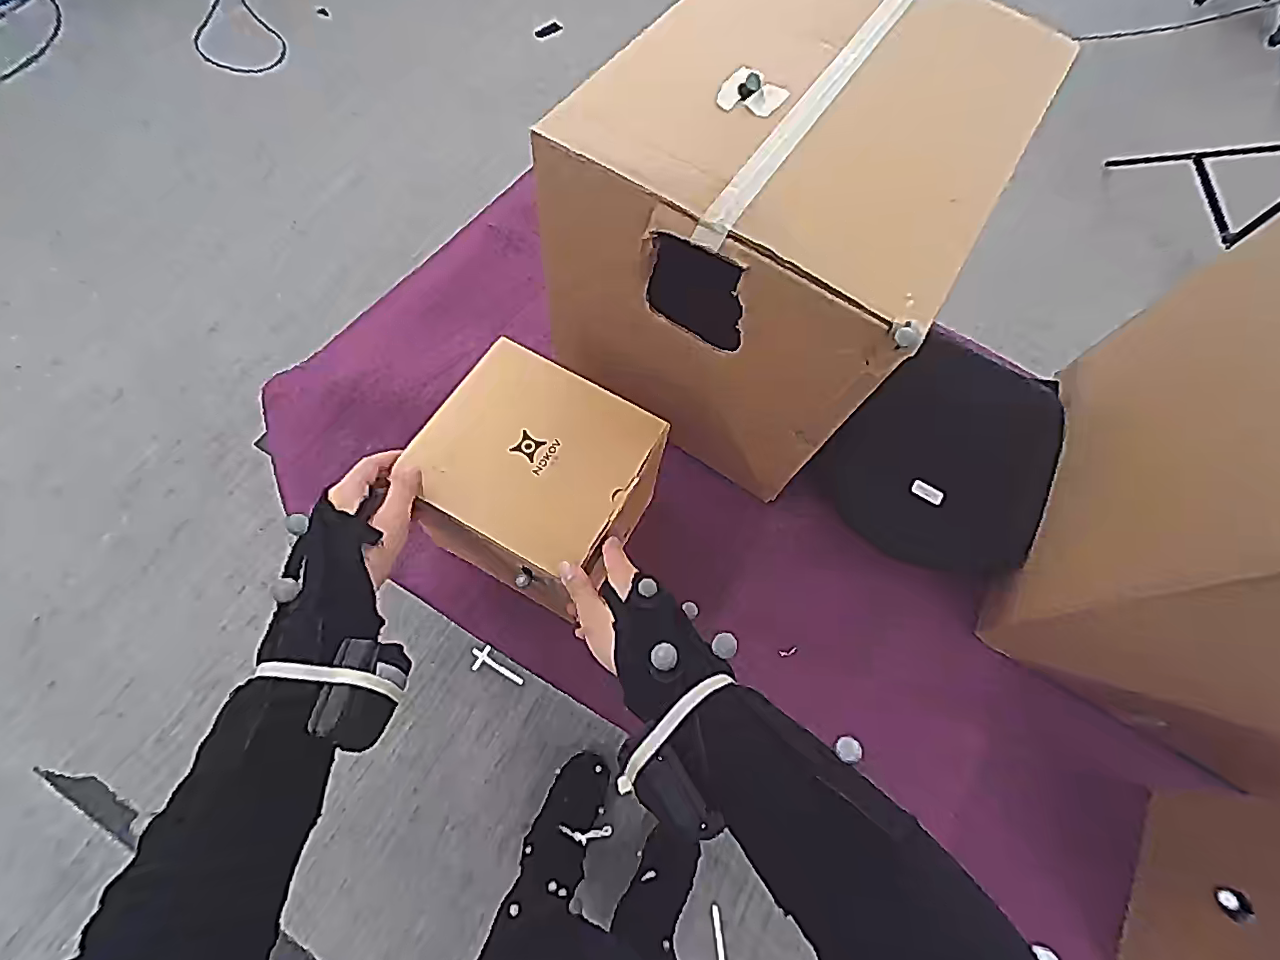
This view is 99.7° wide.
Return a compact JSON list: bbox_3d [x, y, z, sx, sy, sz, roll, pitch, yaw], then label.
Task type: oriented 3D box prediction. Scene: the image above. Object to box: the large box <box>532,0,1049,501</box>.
[{"bbox_3d":[0.137,-0.253,0.588,0.320,0.320,0.408,32,70,9],"label":"large box"}]
